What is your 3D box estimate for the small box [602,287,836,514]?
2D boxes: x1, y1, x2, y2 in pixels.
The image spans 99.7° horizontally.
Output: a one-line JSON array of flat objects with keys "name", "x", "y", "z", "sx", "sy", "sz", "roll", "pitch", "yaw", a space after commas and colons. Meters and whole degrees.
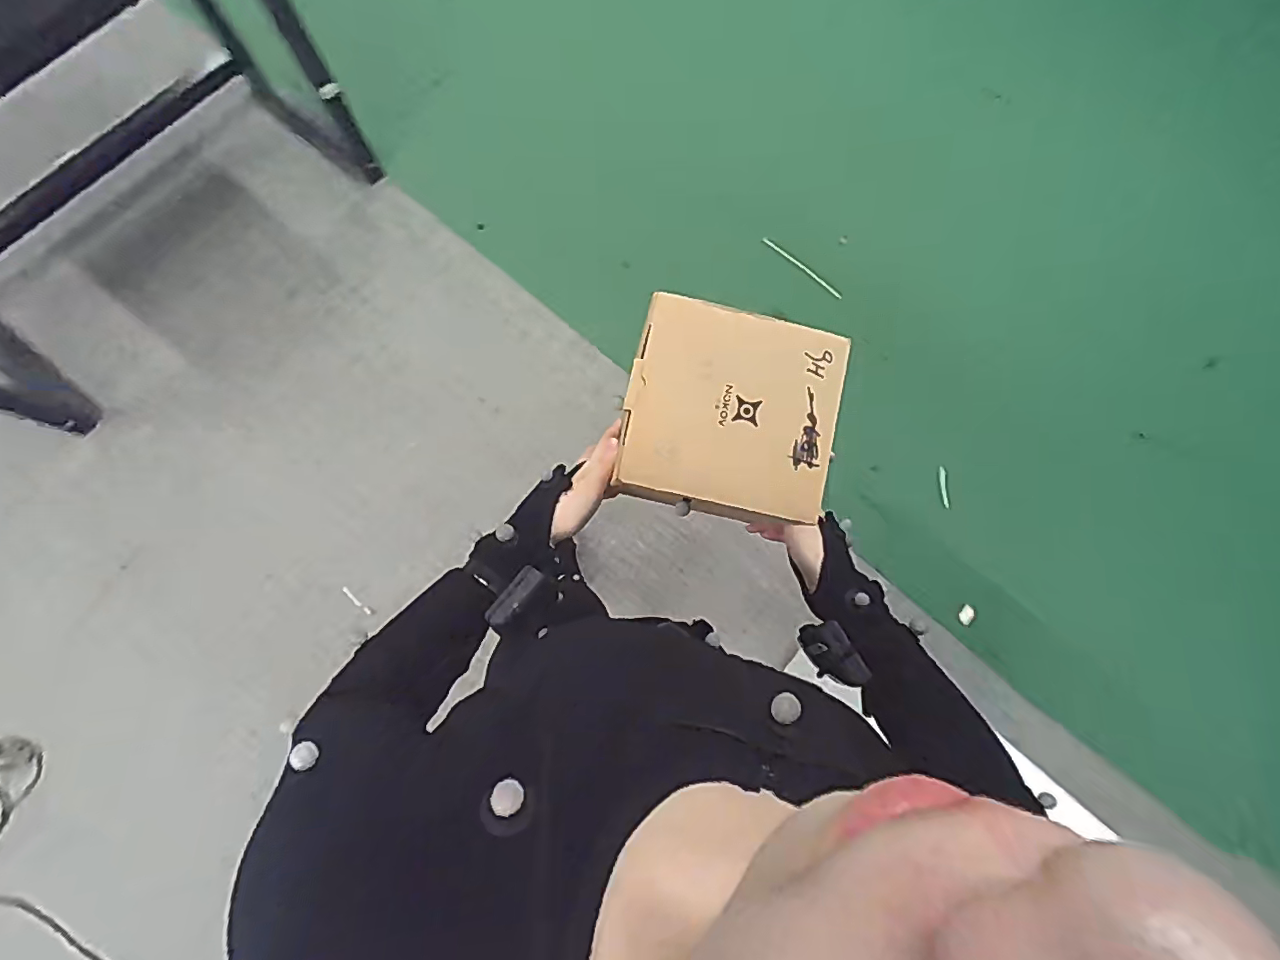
[{"name": "small box", "x": 0.062, "y": -0.061, "z": 0.531, "sx": 0.179, "sy": 0.176, "sz": 0.168, "roll": 12, "pitch": 85, "yaw": -4}]
